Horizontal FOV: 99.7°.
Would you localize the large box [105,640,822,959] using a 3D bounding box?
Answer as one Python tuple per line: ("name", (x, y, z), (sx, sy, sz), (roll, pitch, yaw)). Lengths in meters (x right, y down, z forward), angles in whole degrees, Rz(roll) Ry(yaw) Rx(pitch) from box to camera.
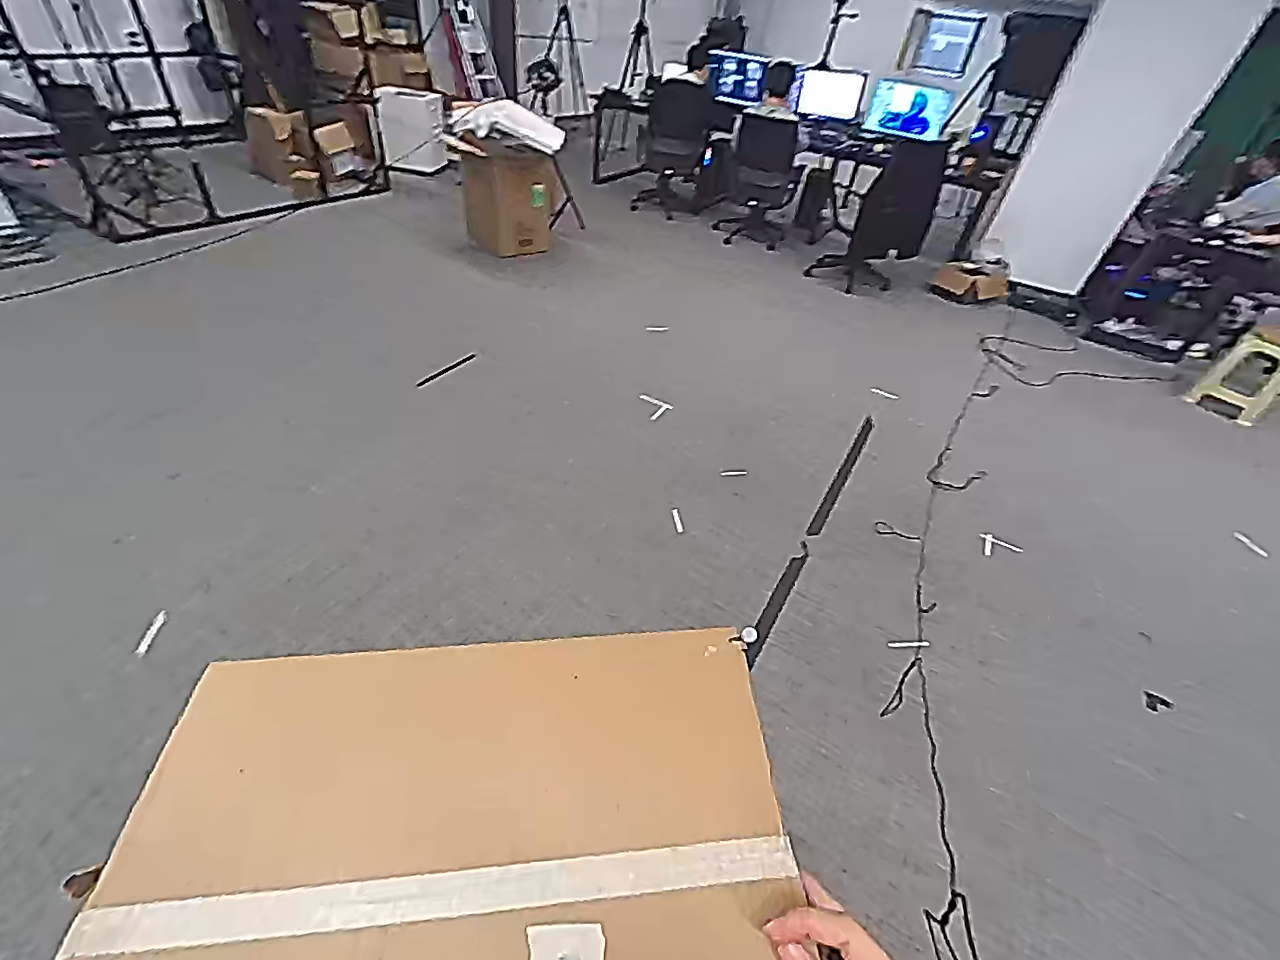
("large box", (-0.104, 0.353, 0.427), (0.408, 0.320, 0.320), (-2, 47, -5))
